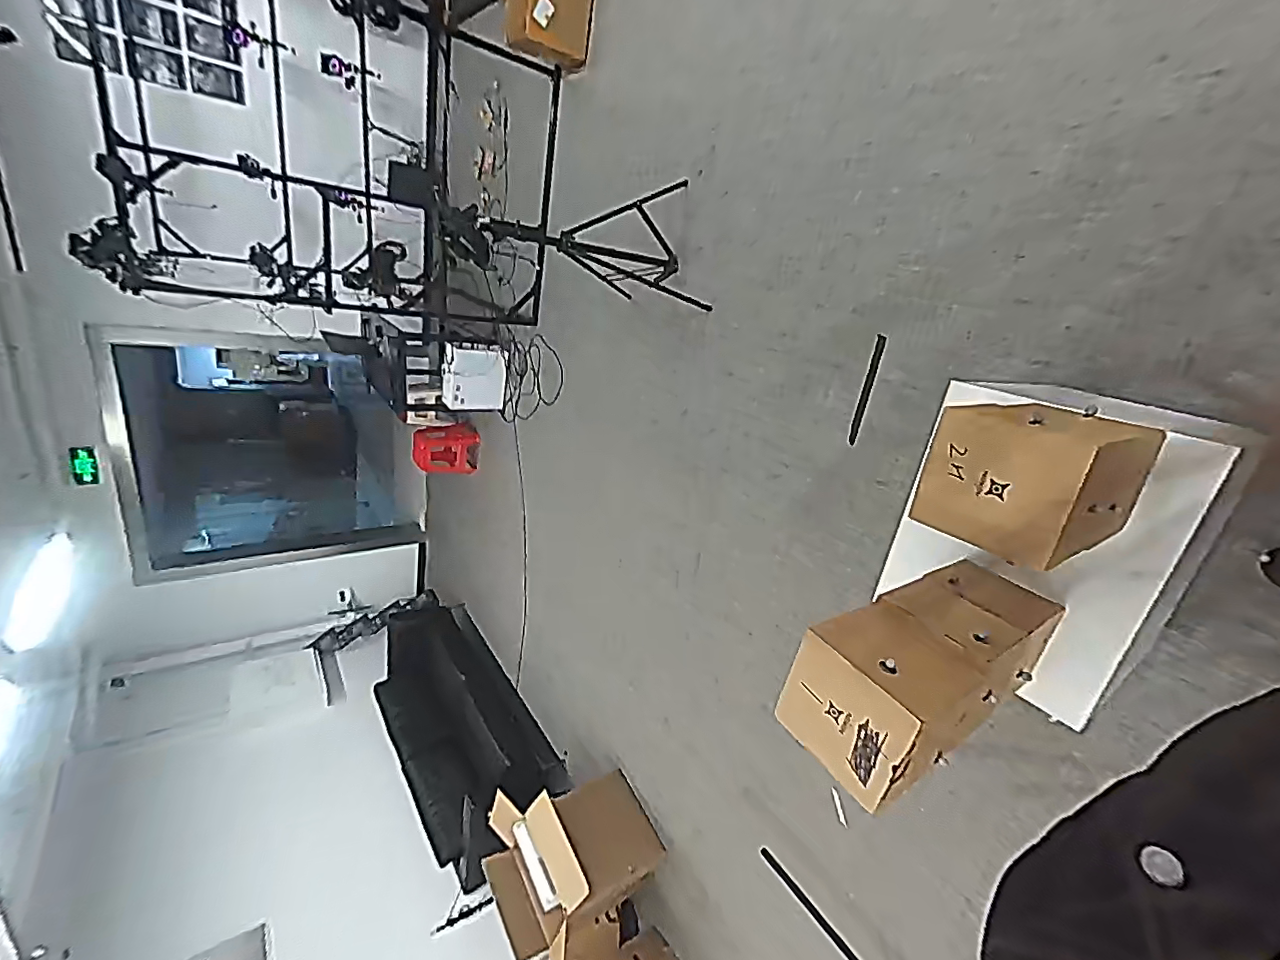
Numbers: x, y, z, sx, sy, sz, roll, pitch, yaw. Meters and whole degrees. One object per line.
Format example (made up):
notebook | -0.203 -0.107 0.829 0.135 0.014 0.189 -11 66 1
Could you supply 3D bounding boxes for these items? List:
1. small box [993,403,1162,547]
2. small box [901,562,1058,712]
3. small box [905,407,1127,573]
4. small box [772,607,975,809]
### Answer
small box | 0.639 -0.017 0.828 0.179 0.176 0.168 31 121 48
small box | 0.585 0.261 0.949 0.179 0.176 0.168 34 122 46
small box | 0.505 -0.001 0.731 0.179 0.176 0.168 32 121 47
small box | 0.323 0.301 0.755 0.179 0.176 0.168 39 125 45
